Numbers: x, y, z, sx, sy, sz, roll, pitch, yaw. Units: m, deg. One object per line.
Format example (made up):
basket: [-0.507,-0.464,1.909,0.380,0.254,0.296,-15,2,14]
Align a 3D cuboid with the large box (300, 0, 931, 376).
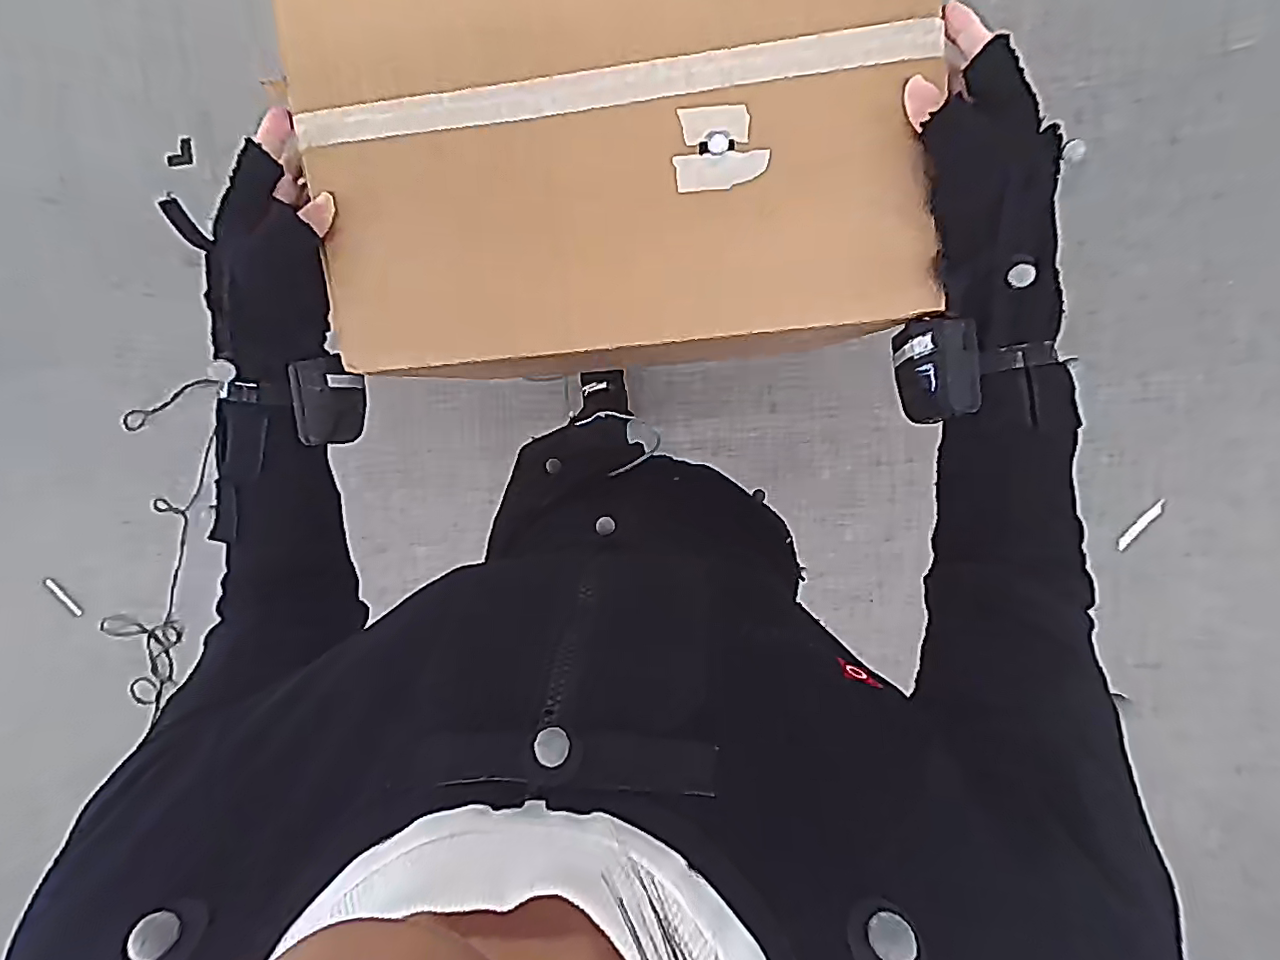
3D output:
large box: [-0.011,-0.278,0.499,0.408,0.320,0.320,-5,100,4]
